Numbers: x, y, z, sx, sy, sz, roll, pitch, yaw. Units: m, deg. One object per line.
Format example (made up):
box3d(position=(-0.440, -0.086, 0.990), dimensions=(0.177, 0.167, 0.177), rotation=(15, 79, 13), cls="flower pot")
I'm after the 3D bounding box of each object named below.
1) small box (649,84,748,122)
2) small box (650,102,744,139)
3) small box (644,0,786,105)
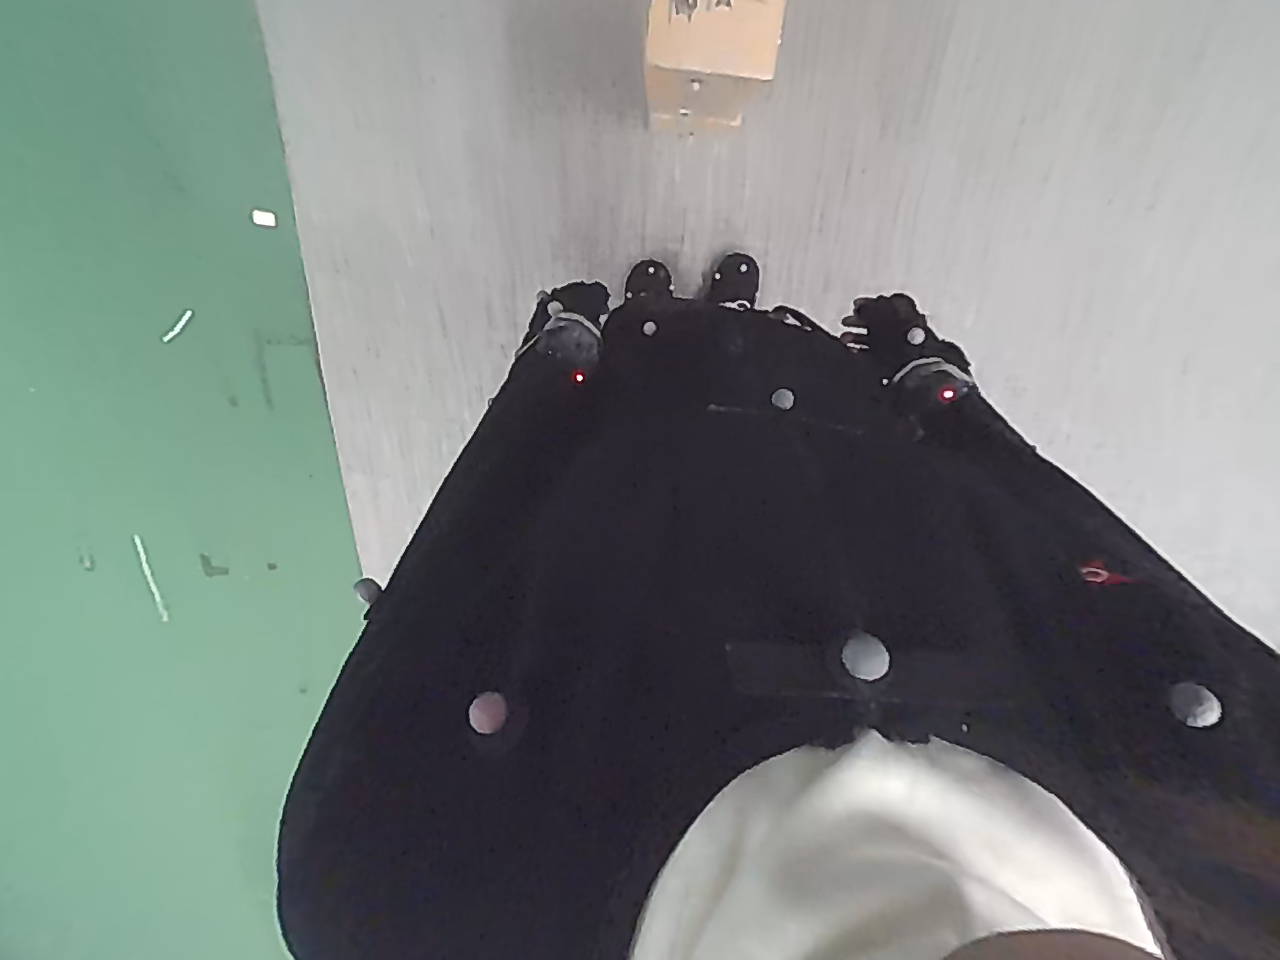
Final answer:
box3d(position=(0.105, -0.728, 0.910), dimensions=(0.168, 0.176, 0.179), rotation=(6, 116, 1), cls="small box")
box3d(position=(0.115, -0.784, 1.062), dimensions=(0.179, 0.176, 0.168), rotation=(5, 114, -1), cls="small box")
box3d(position=(0.104, -0.651, 0.764), dimensions=(0.179, 0.176, 0.168), rotation=(7, 114, -1), cls="small box")
